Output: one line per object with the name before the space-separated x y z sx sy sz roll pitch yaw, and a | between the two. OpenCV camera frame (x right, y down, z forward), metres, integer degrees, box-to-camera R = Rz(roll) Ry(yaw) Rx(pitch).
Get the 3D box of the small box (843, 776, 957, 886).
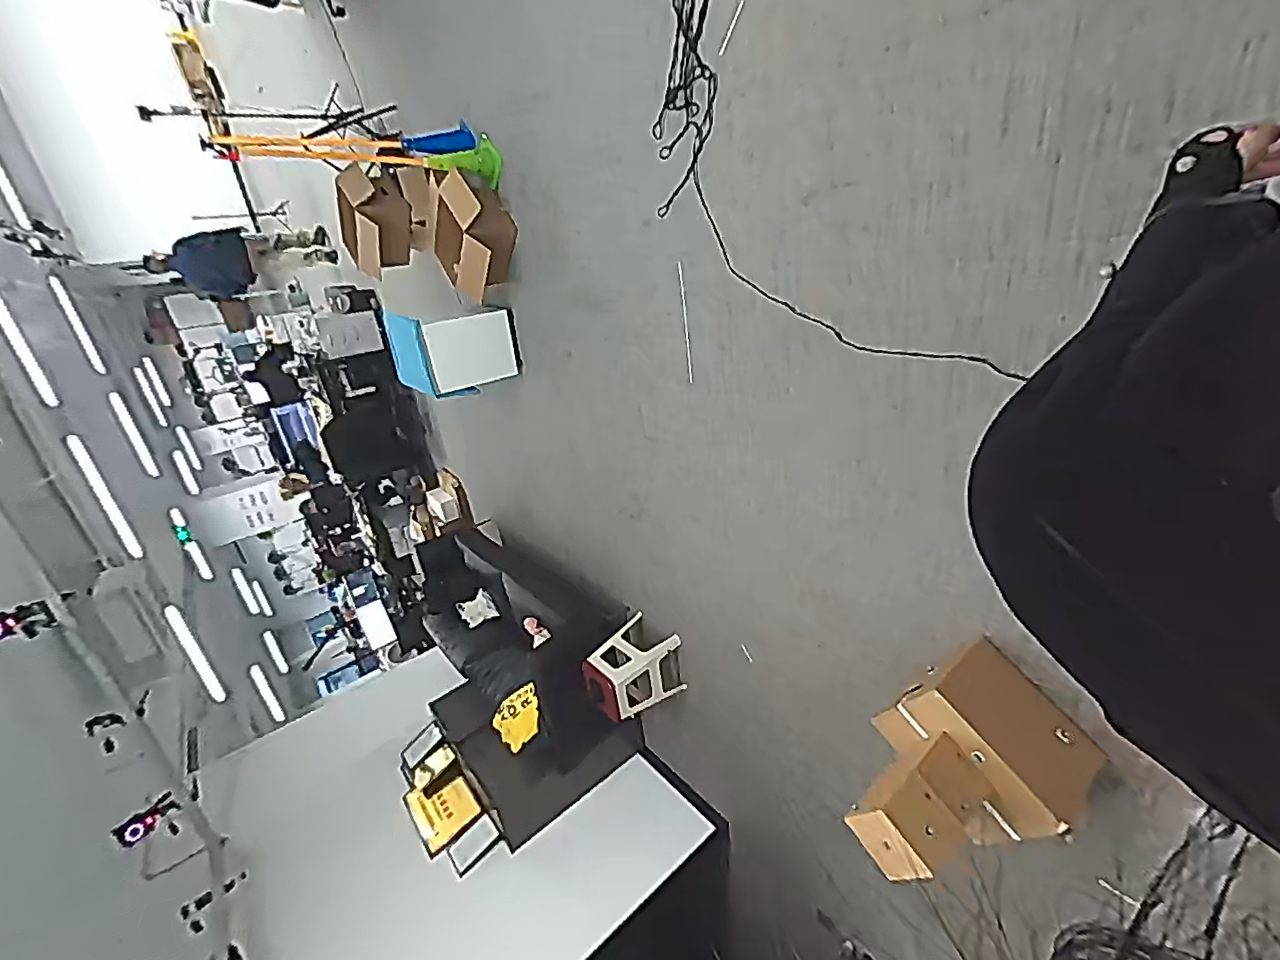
small box | 0.663 0.883 1.369 0.168 0.176 0.179 51 145 23
